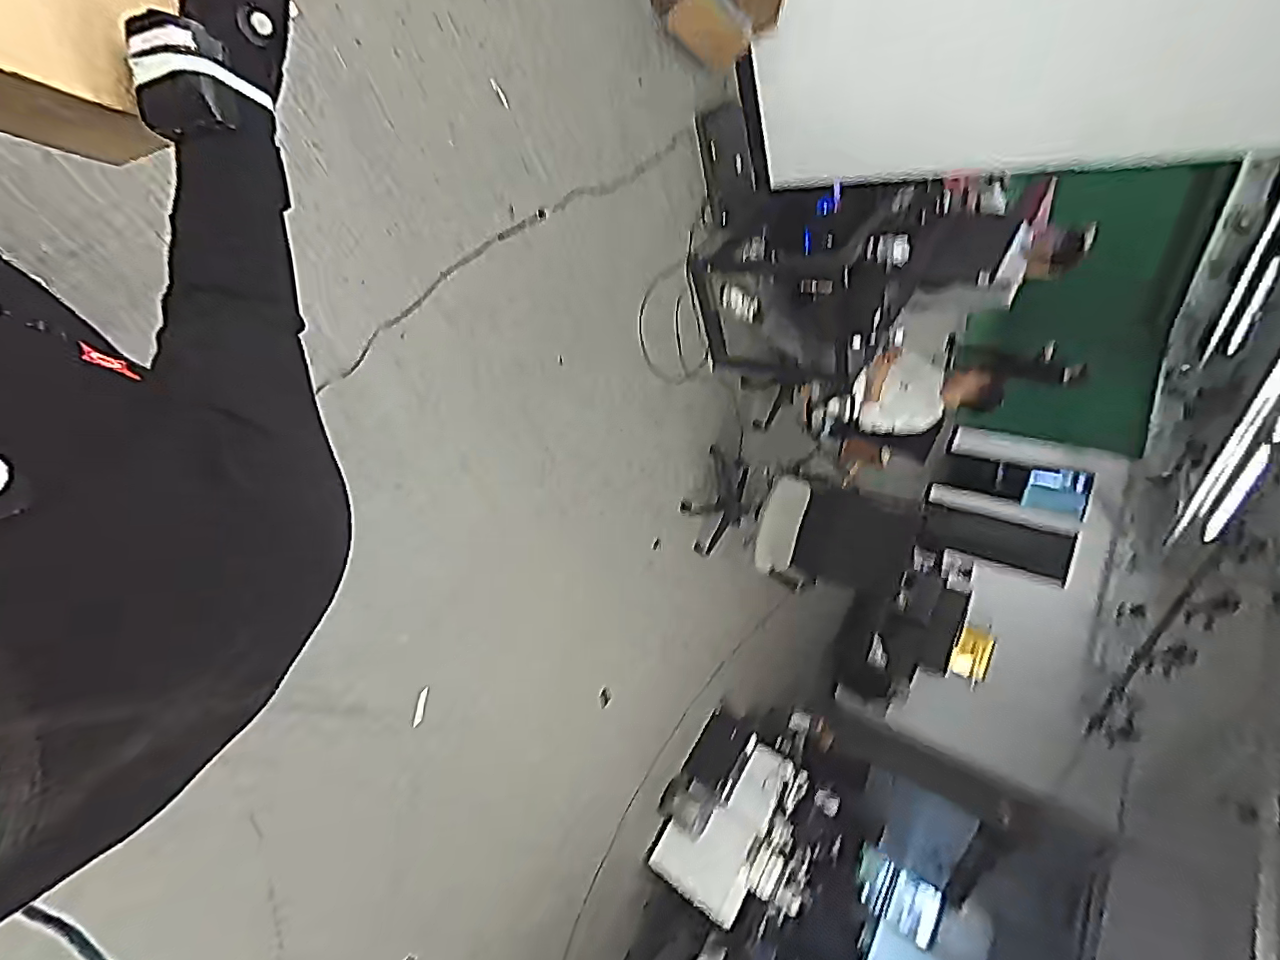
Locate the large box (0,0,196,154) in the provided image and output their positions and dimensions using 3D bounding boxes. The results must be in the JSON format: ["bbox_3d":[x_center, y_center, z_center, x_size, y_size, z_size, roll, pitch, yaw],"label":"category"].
[{"bbox_3d":[-0.565,-0.447,0.321,0.408,0.320,0.320,-7,111,-52],"label":"large box"}]
